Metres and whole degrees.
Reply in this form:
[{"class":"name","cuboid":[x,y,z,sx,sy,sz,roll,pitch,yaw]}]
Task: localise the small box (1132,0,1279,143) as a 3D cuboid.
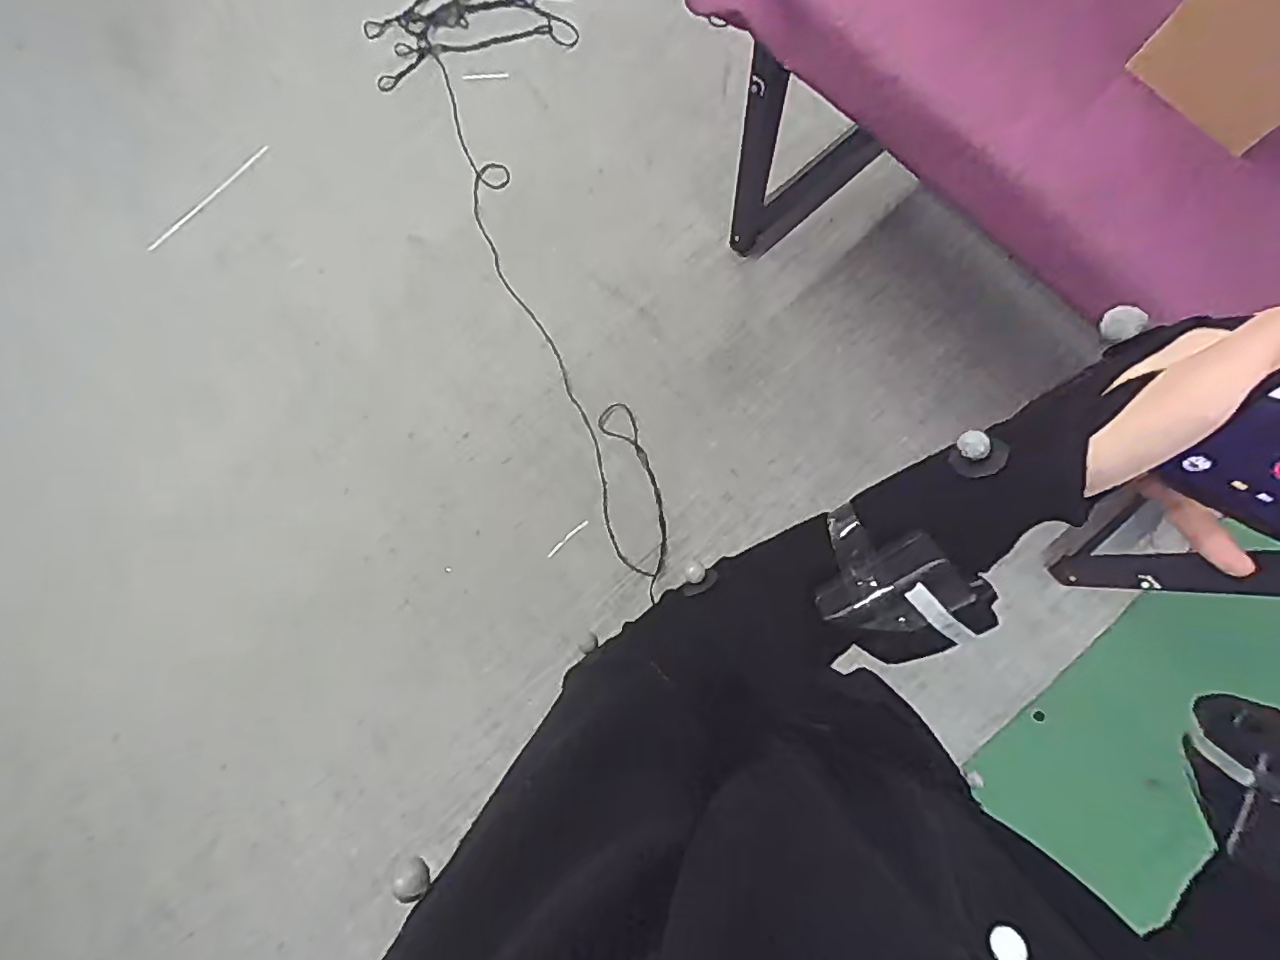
[{"class":"small box","cuboid":[0.714,-0.509,0.583,0.168,0.176,0.179,-38,80,-1]}]
